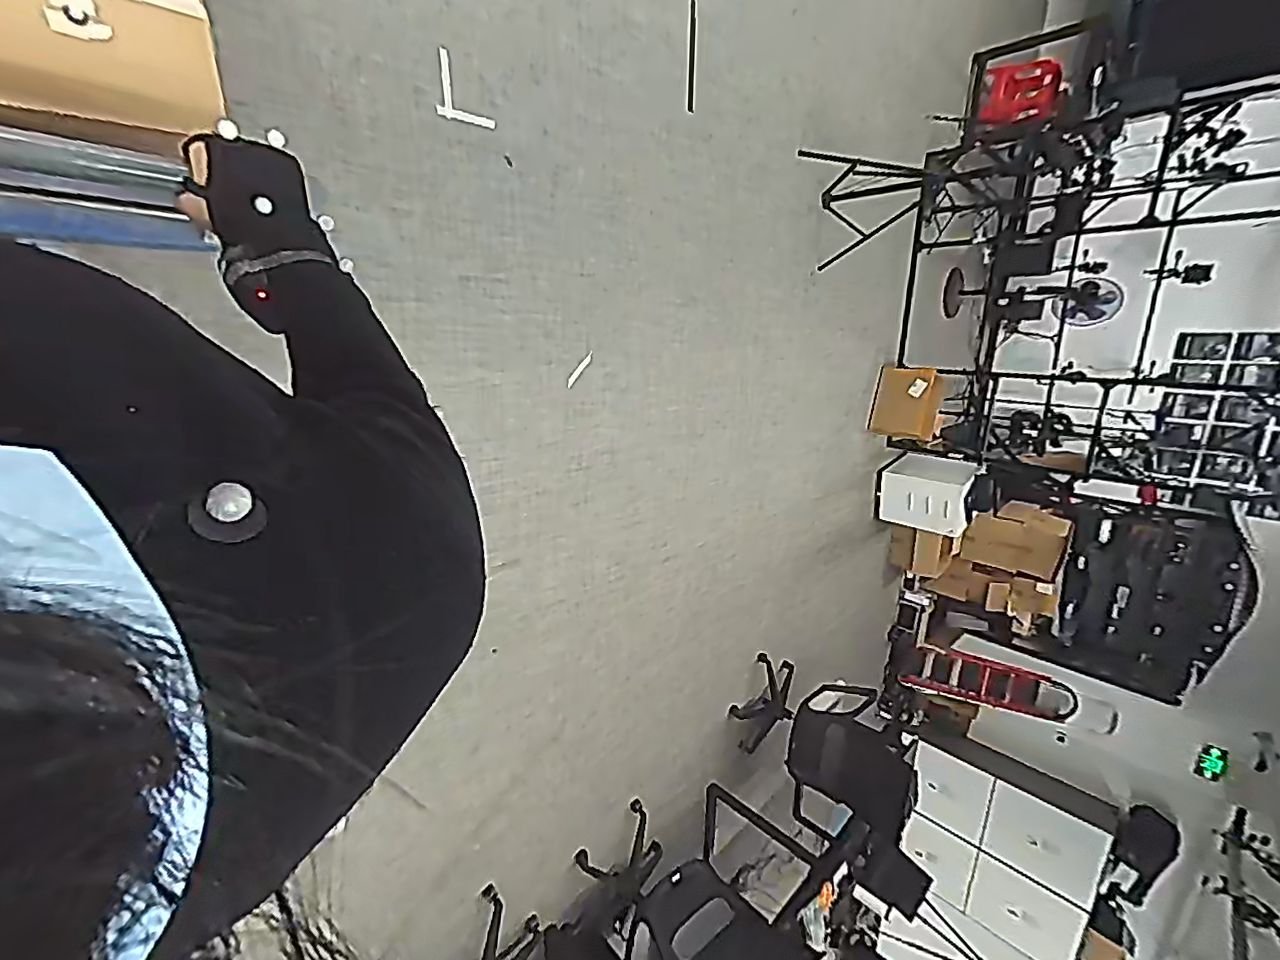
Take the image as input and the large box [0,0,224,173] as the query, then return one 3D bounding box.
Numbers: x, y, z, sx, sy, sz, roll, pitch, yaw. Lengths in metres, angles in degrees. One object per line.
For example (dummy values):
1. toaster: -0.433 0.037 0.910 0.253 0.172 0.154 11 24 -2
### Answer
1. large box: -0.859 -0.629 0.711 0.408 0.320 0.320 -19 115 -44
